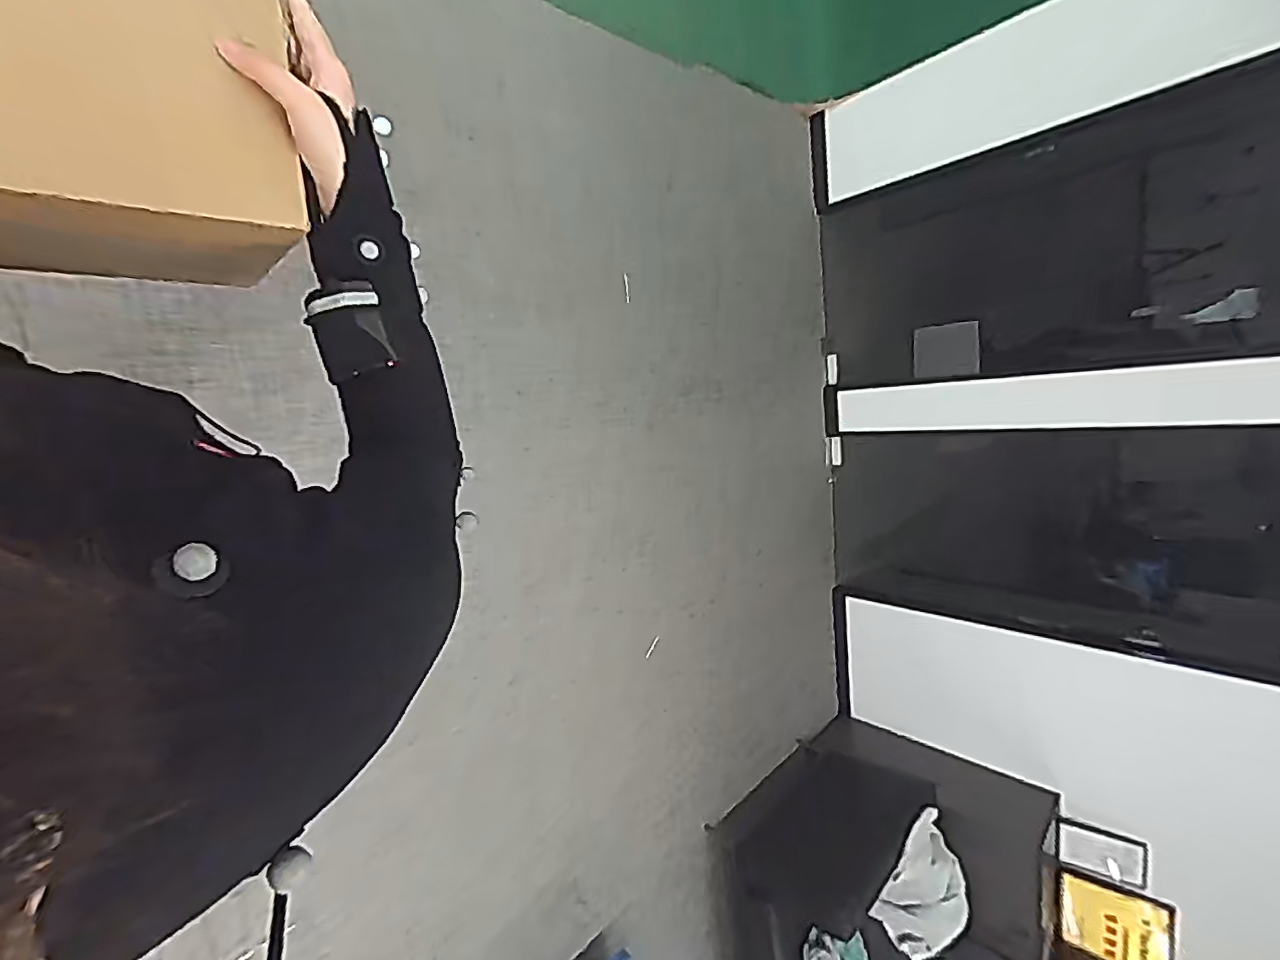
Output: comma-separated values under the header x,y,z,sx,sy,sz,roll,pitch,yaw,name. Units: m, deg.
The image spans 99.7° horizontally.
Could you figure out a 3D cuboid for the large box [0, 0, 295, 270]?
x,y,z,sx,sy,sz,roll,pitch,yaw,name
-0.500,-0.328,0.351,0.408,0.320,0.320,-11,105,-39,large box
